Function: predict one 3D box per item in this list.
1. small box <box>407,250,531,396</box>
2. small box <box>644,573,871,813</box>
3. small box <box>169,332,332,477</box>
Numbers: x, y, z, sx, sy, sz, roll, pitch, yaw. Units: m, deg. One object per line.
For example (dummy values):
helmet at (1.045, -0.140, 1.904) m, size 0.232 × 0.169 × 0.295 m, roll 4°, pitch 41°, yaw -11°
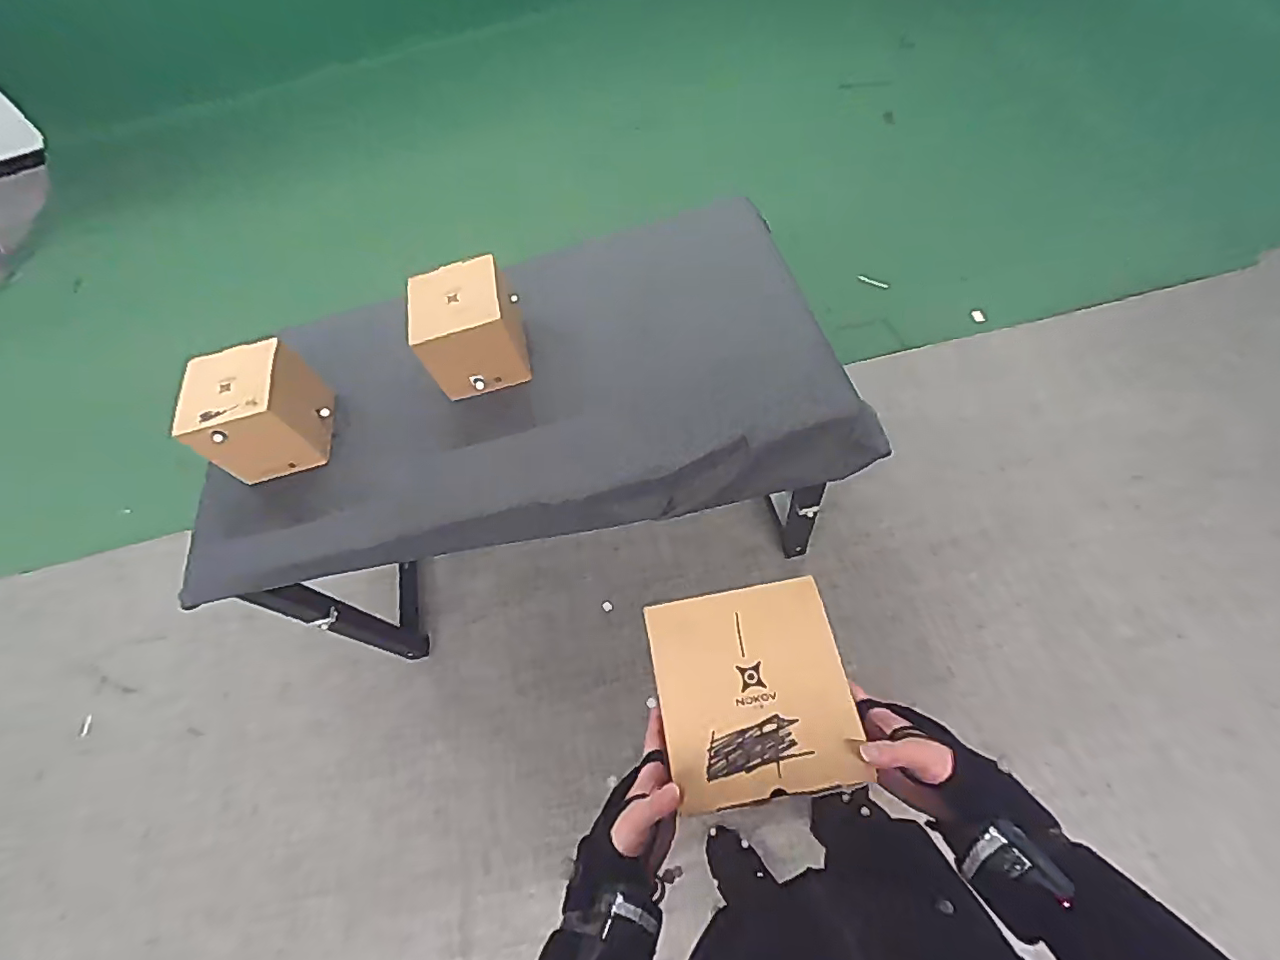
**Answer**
small box at (-0.317, -0.289, 1.014) m, size 0.168 × 0.176 × 0.179 m, roll -16°, pitch 62°, yaw 2°
small box at (0.103, 0.212, 0.545) m, size 0.168 × 0.176 × 0.179 m, roll -11°, pitch 64°, yaw -1°
small box at (-0.692, -0.133, 0.986) m, size 0.168 × 0.176 × 0.179 m, roll -16°, pitch 60°, yaw 1°
